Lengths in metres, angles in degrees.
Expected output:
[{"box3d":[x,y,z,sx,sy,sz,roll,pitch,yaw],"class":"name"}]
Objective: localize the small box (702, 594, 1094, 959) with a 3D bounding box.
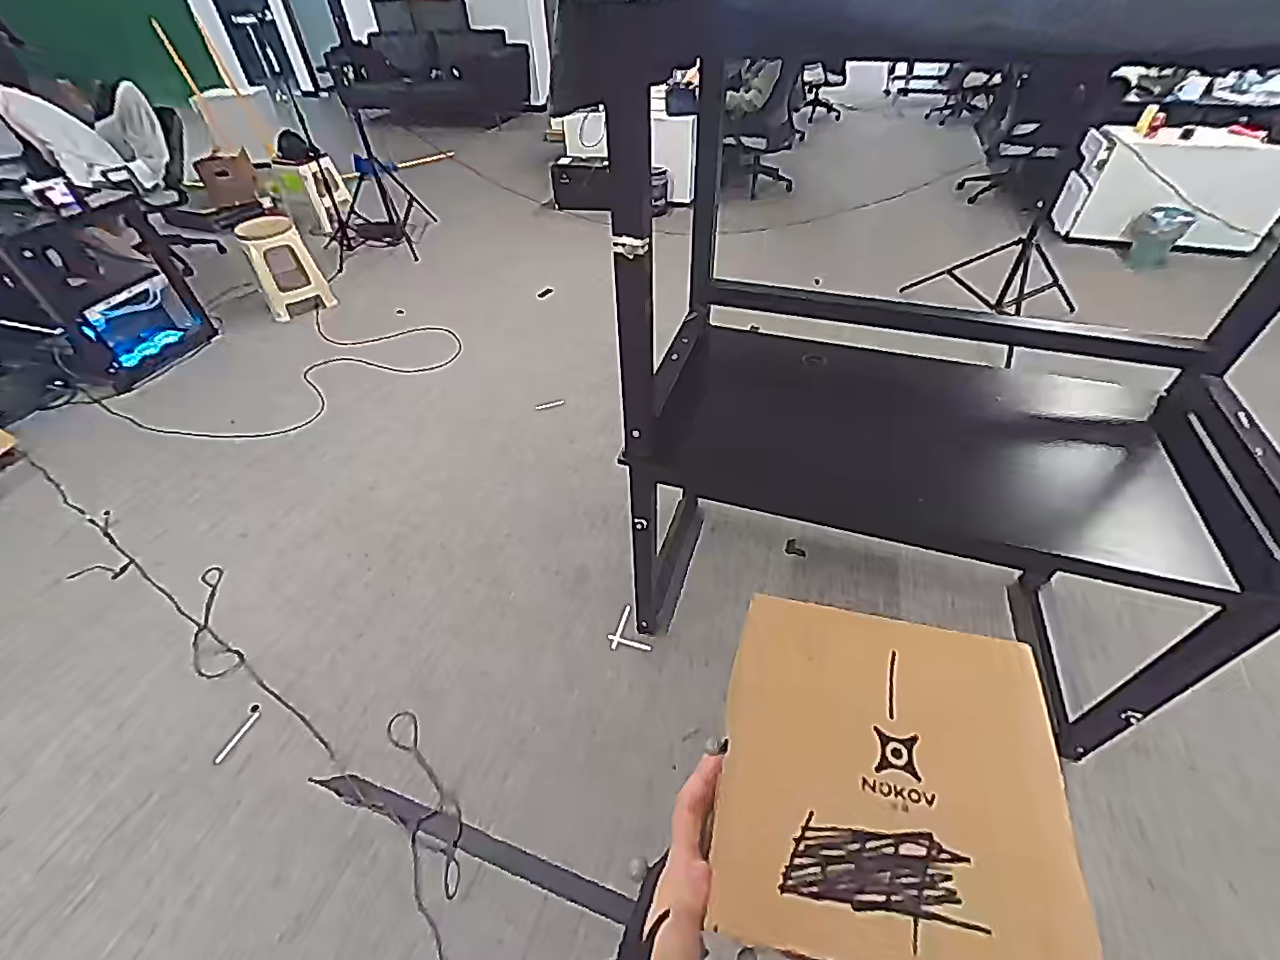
[{"box3d":[0.134,0.202,0.344,0.168,0.176,0.179,9,52,10],"class":"small box"}]
